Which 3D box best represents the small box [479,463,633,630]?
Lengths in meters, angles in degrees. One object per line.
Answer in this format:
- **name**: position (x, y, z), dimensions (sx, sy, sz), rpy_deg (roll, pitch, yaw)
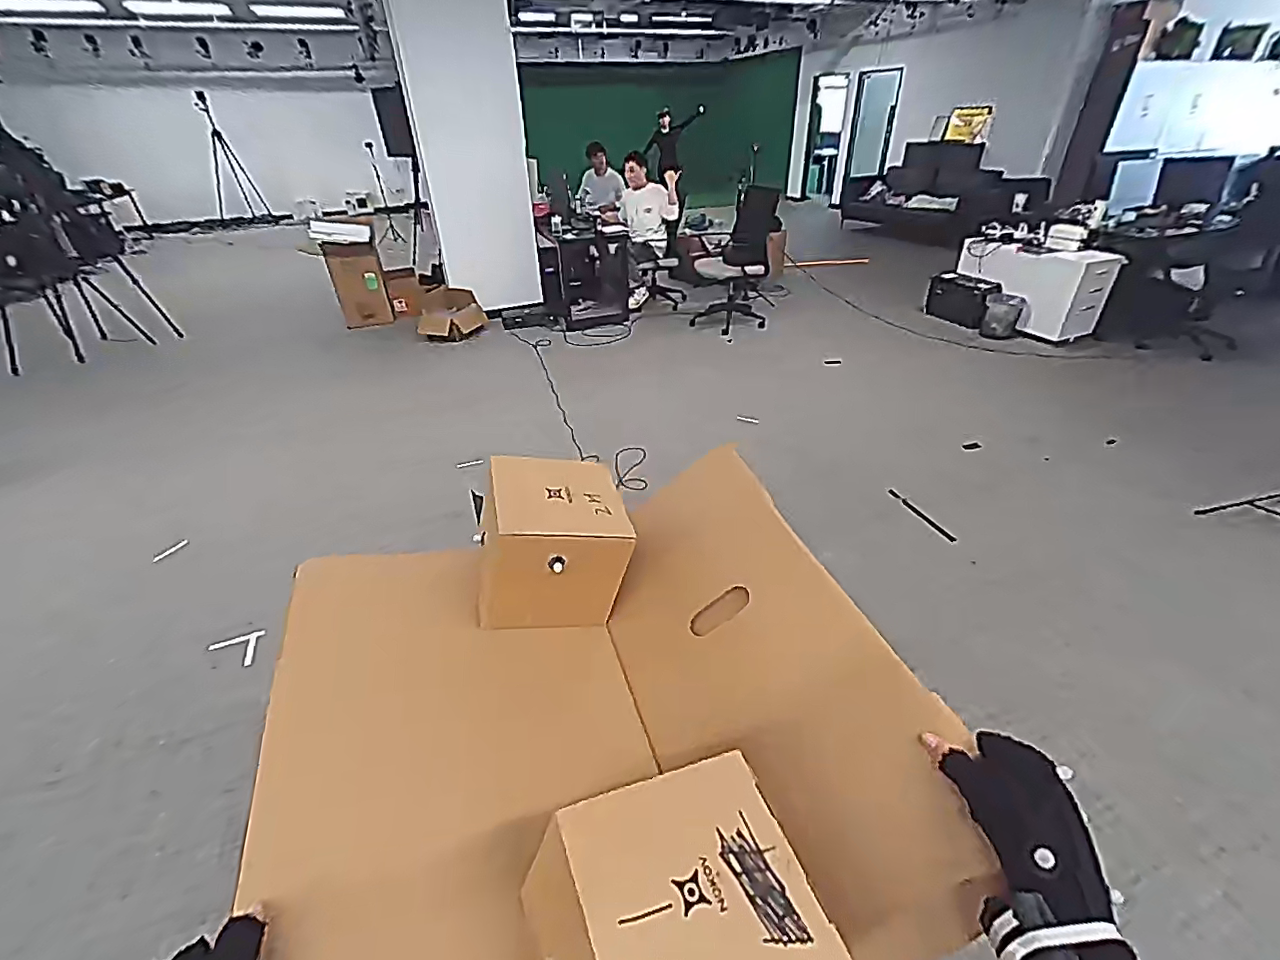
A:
- **small box**: position (-0.130, 0.095, 0.759), dimensions (0.179, 0.176, 0.168), rpy_deg (5, 35, -22)
